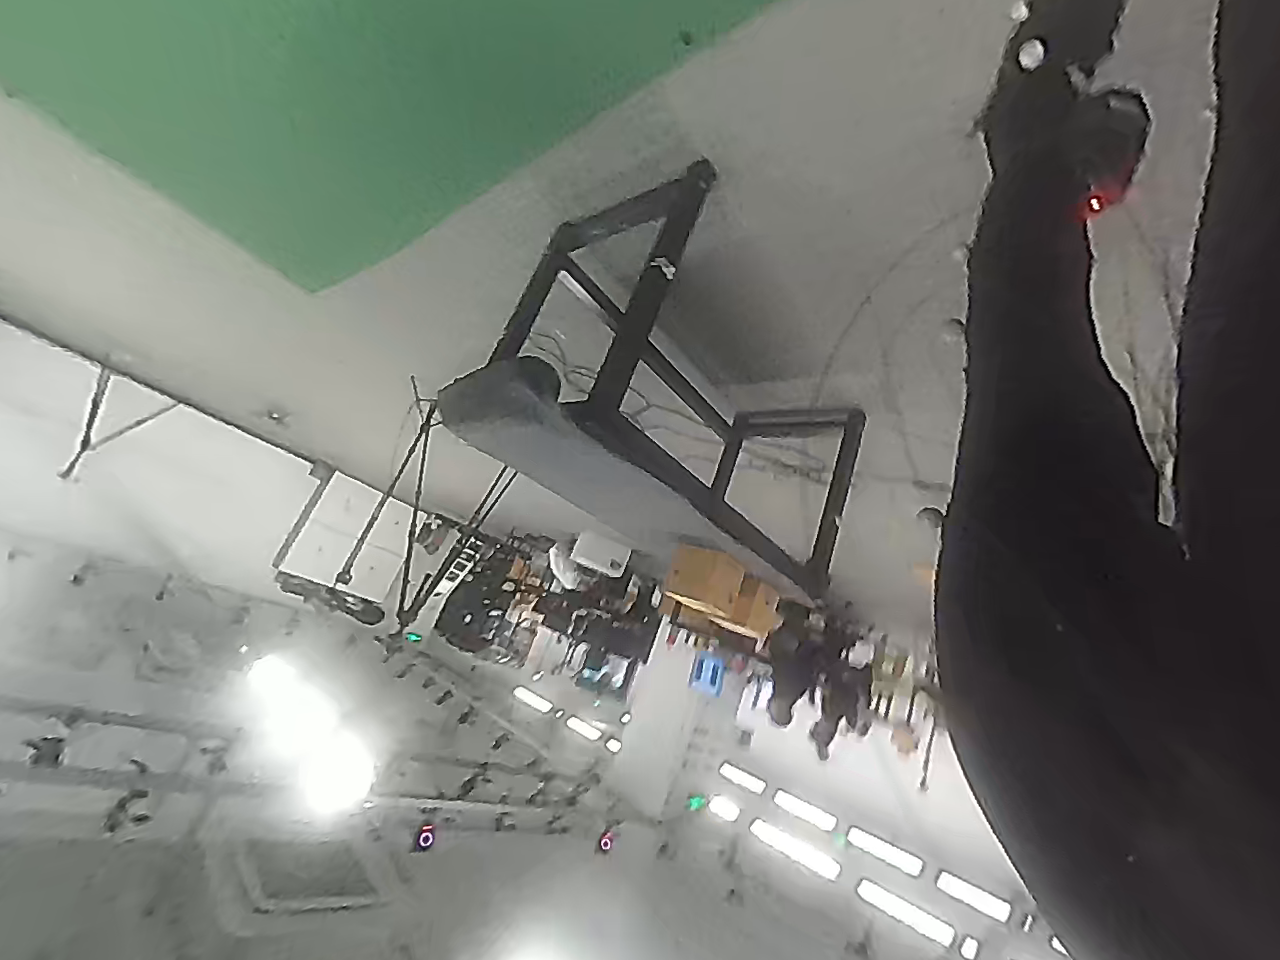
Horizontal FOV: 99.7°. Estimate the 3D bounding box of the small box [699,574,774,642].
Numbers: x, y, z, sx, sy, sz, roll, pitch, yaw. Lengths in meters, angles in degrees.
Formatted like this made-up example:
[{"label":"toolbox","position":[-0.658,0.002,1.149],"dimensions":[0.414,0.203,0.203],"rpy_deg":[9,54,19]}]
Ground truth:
[{"label":"small box","position":[0.343,0.444,1.897],"dimensions":[0.179,0.176,0.168],"rpy_deg":[7,157,42]}]
